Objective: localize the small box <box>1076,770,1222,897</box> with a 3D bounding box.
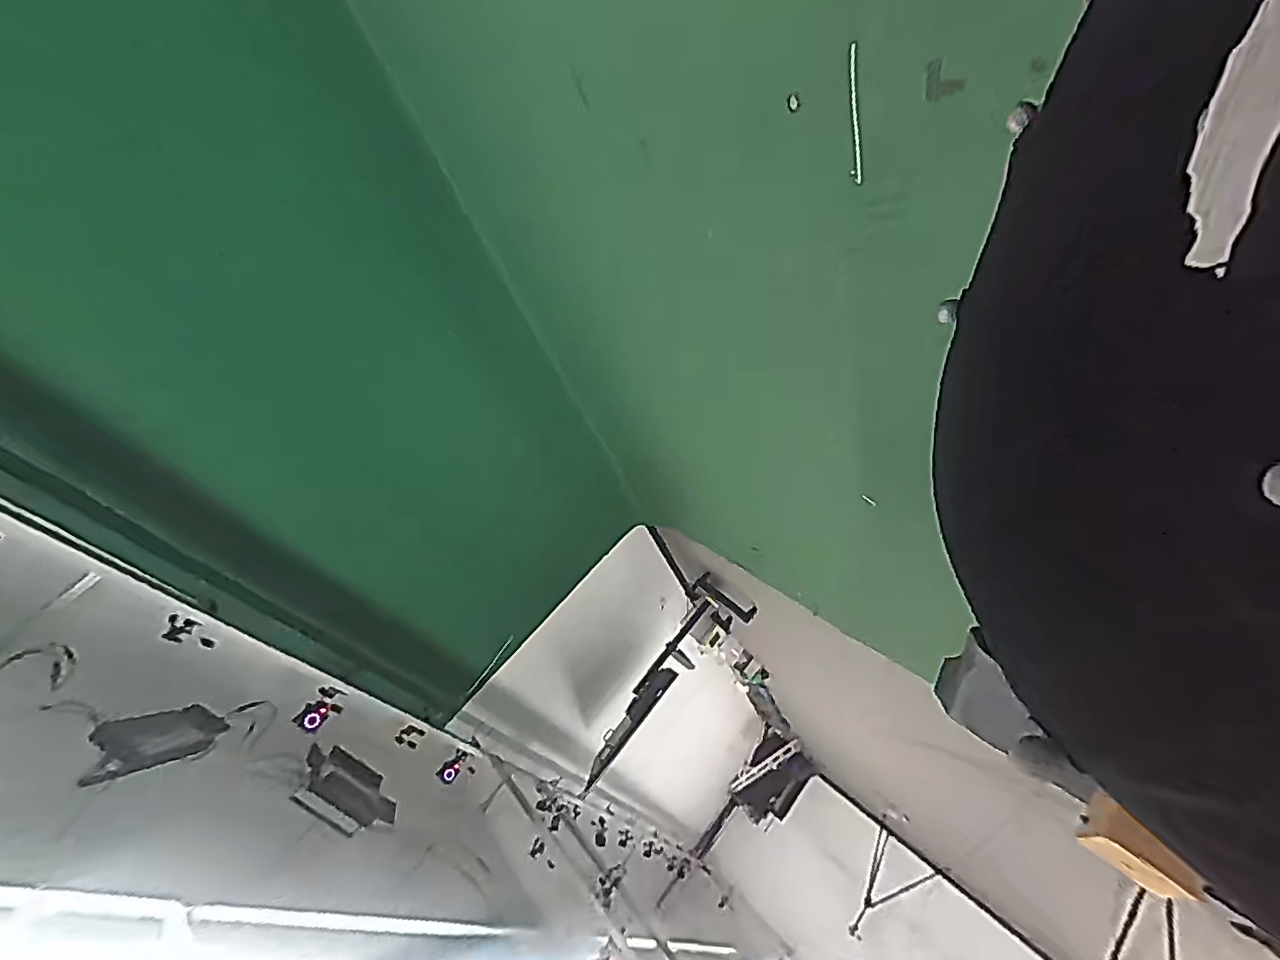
[{"bbox_3d":[1.142,0.790,1.219,0.168,0.176,0.179,32,159,33],"label":"small box"}]
